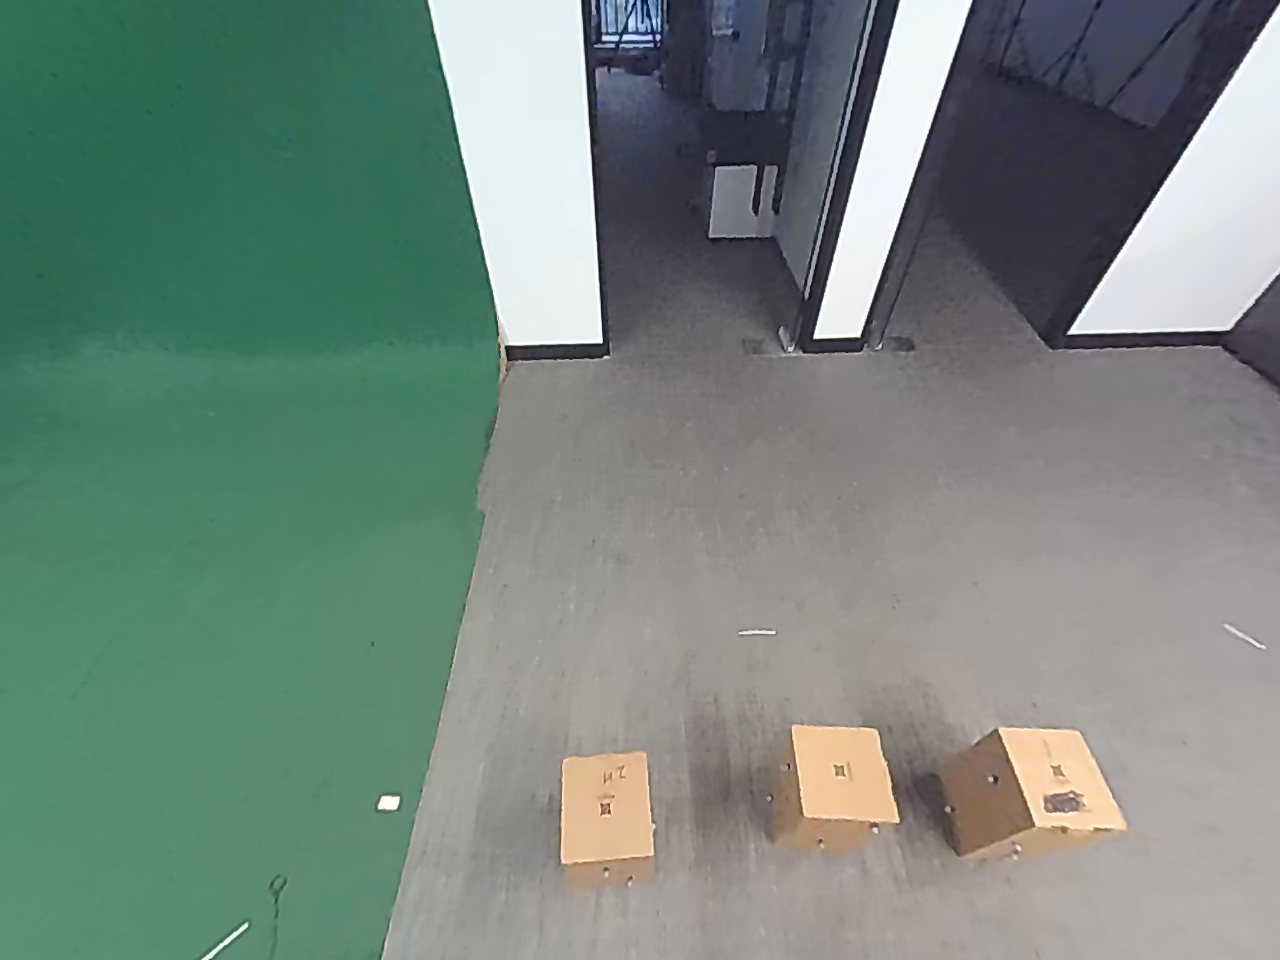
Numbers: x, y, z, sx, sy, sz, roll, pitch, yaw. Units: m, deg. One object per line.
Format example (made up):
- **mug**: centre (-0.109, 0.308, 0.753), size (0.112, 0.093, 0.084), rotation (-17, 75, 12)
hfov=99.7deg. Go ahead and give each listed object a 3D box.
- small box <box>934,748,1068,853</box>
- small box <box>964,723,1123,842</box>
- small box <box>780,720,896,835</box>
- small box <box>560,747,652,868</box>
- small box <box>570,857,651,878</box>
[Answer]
- **small box**: centre (0.795, 0.720, 1.211), size (0.168, 0.176, 0.179), rotation (1, 47, 1)
- **small box**: centre (0.792, 0.610, 1.087), size (0.168, 0.176, 0.179), rotation (2, 46, 2)
- **small box**: centre (0.387, 0.606, 1.098), size (0.179, 0.176, 0.168), rotation (2, 46, 2)
- **small box**: centre (-0.063, 0.648, 1.064), size (0.168, 0.176, 0.179), rotation (-2, 47, -3)
- **small box**: centre (-0.060, 0.758, 1.186), size (0.168, 0.176, 0.179), rotation (-2, 46, -2)
